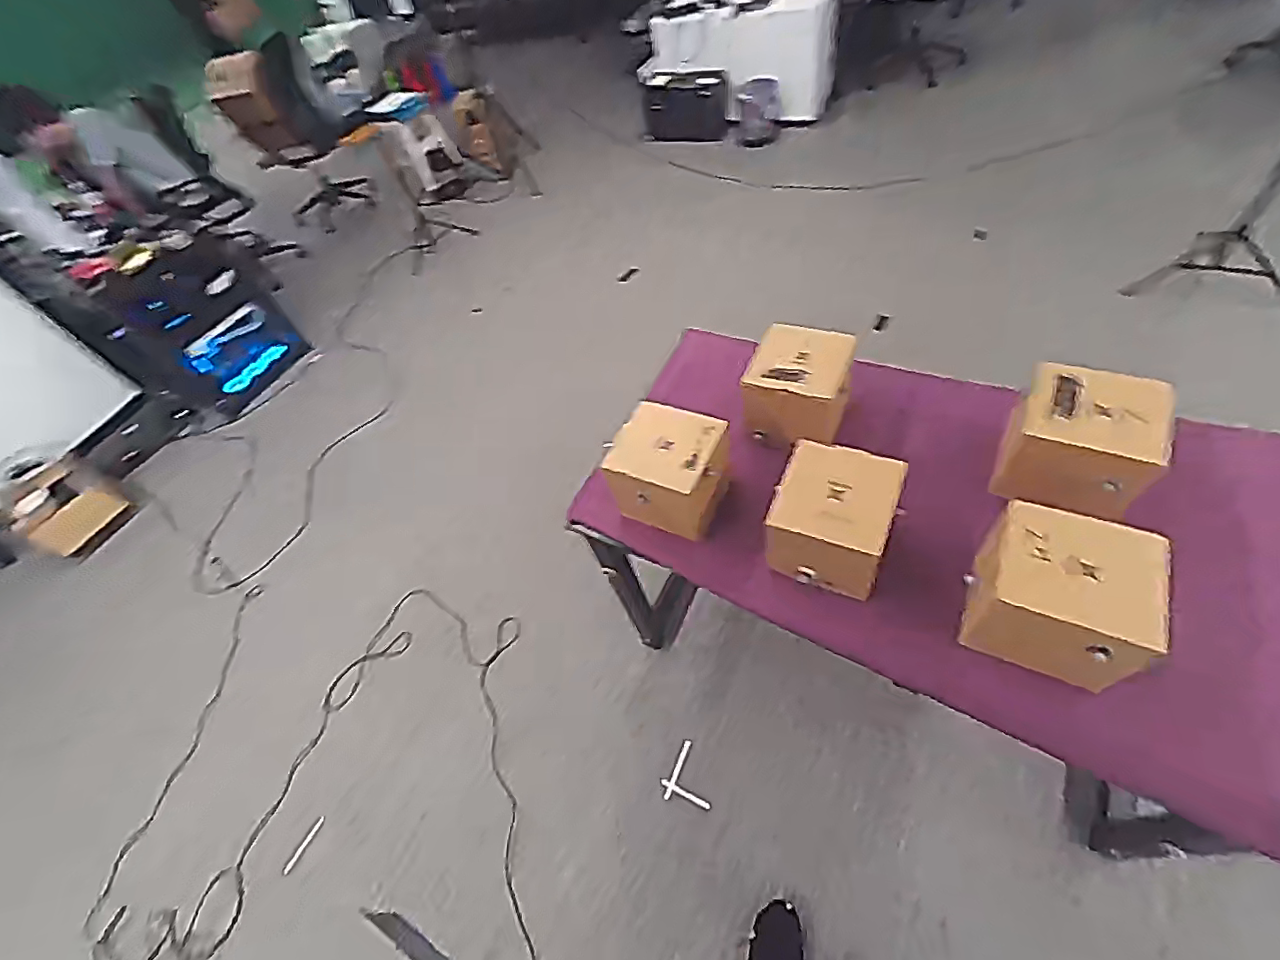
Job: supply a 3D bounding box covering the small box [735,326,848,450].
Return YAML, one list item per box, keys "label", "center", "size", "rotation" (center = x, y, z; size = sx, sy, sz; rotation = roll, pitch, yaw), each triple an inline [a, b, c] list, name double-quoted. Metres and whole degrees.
- label: "small box"
  center: [0.300, -0.174, 1.069]
  size: [0.168, 0.176, 0.179]
  rotation: [17, 60, 24]

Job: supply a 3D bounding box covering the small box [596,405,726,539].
- label: "small box"
  center: [0.048, -0.011, 1.011]
  size: [0.179, 0.176, 0.168]
  rotation: [17, 61, 25]

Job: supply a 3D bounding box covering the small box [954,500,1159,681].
- label: "small box"
  center: [0.568, 0.159, 0.755]
  size: [0.179, 0.176, 0.168]
  rotation: [17, 60, 25]

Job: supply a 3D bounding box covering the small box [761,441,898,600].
- label: "small box"
  center: [0.307, 0.068, 0.892]
  size: [0.168, 0.176, 0.179]
  rotation: [16, 62, 25]
